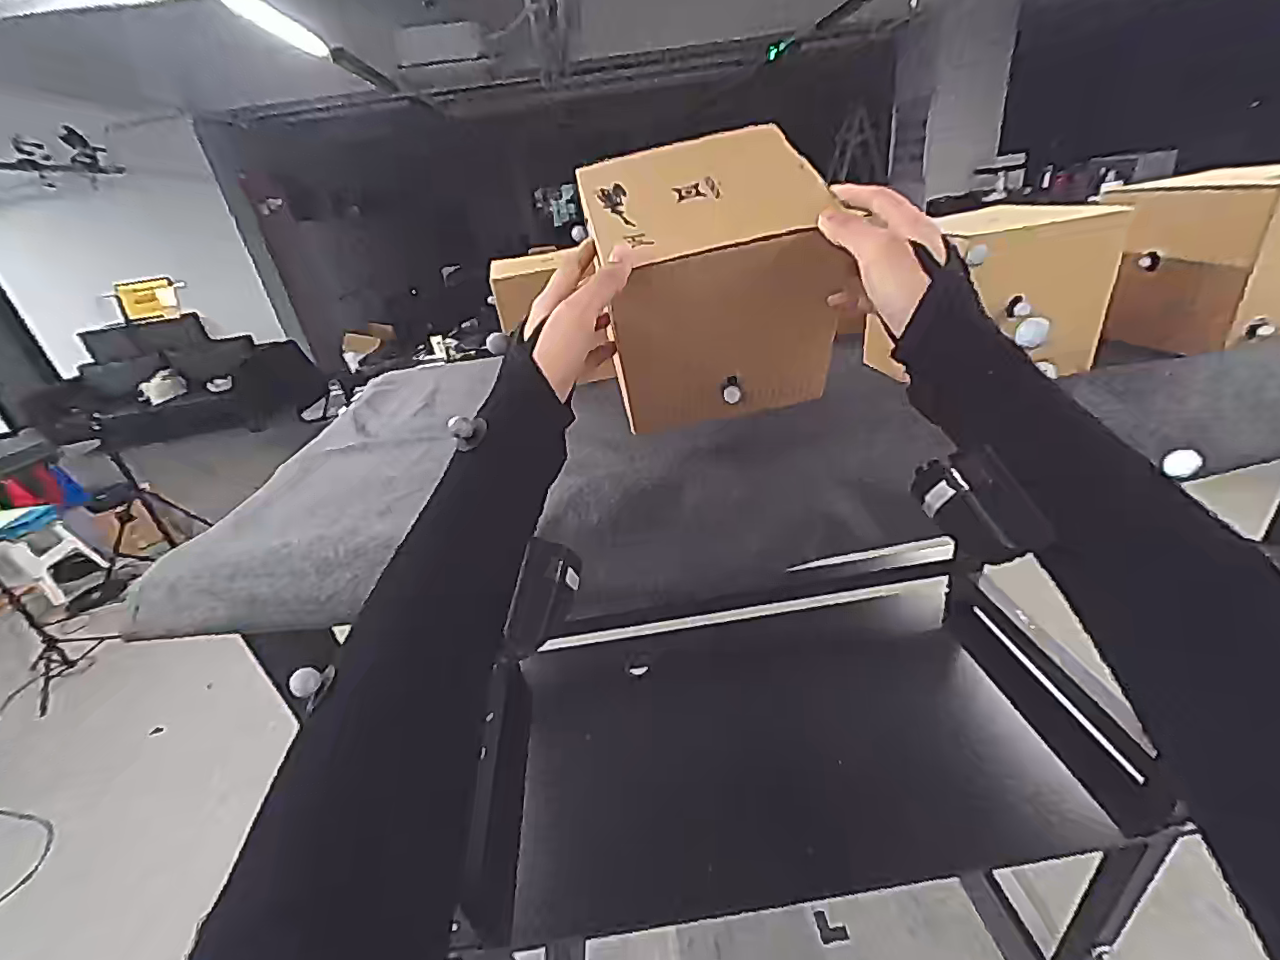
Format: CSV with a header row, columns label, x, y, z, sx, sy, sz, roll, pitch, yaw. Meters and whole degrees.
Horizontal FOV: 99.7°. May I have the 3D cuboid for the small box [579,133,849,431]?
label,x,y,z,sx,sy,sz,roll,pitch,yaw
small box,0.053,-0.167,0.475,0.179,0.176,0.168,-12,52,-1

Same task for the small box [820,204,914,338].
label,x,y,z,sx,sy,sz,roll,pitch,yaw
small box,0.301,-0.329,0.853,0.179,0.176,0.168,-9,29,-1

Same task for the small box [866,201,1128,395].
label,x,y,z,sx,sy,sz,roll,pitch,yaw
small box,0.373,-0.202,0.603,0.168,0.176,0.179,-11,27,-3

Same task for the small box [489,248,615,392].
label,x,y,z,sx,sy,sz,roll,pitch,yaw
small box,-0.124,-0.247,0.823,0.168,0.176,0.179,-14,29,-7

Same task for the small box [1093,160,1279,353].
label,x,y,z,sx,sy,sz,roll,pitch,yaw
small box,0.644,-0.248,0.602,0.168,0.176,0.179,-12,27,-6
